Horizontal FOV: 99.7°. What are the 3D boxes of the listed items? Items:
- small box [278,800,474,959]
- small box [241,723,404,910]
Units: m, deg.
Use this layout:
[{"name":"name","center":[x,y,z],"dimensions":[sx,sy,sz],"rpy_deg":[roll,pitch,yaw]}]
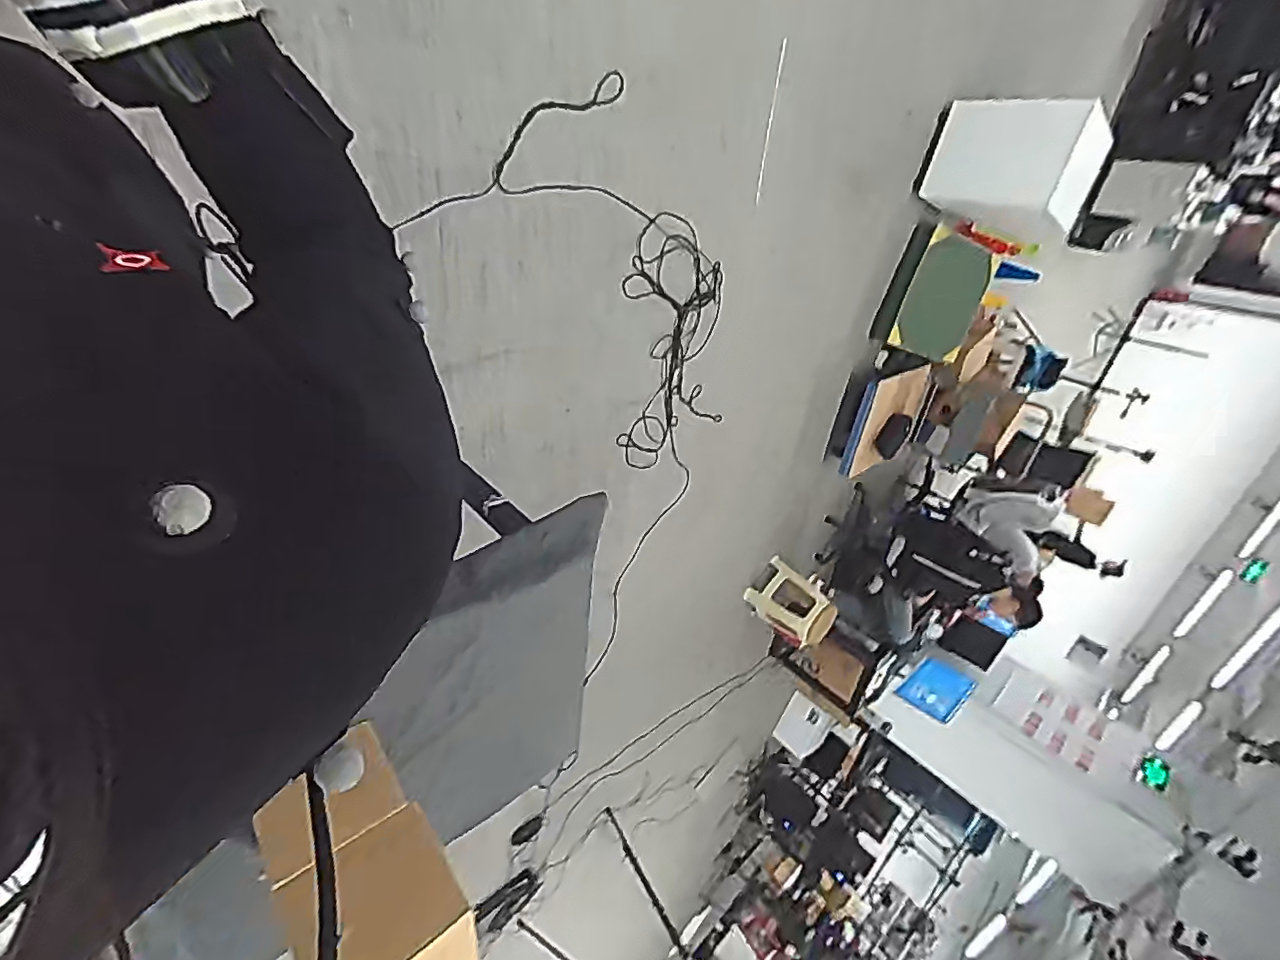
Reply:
[{"name":"small box","center":[-0.336,0.566,0.690],"dimensions":[0.179,0.176,0.168],"rpy_deg":[-22,131,-38]},{"name":"small box","center":[-0.449,0.498,0.786],"dimensions":[0.168,0.176,0.179],"rpy_deg":[-20,128,-39]}]
